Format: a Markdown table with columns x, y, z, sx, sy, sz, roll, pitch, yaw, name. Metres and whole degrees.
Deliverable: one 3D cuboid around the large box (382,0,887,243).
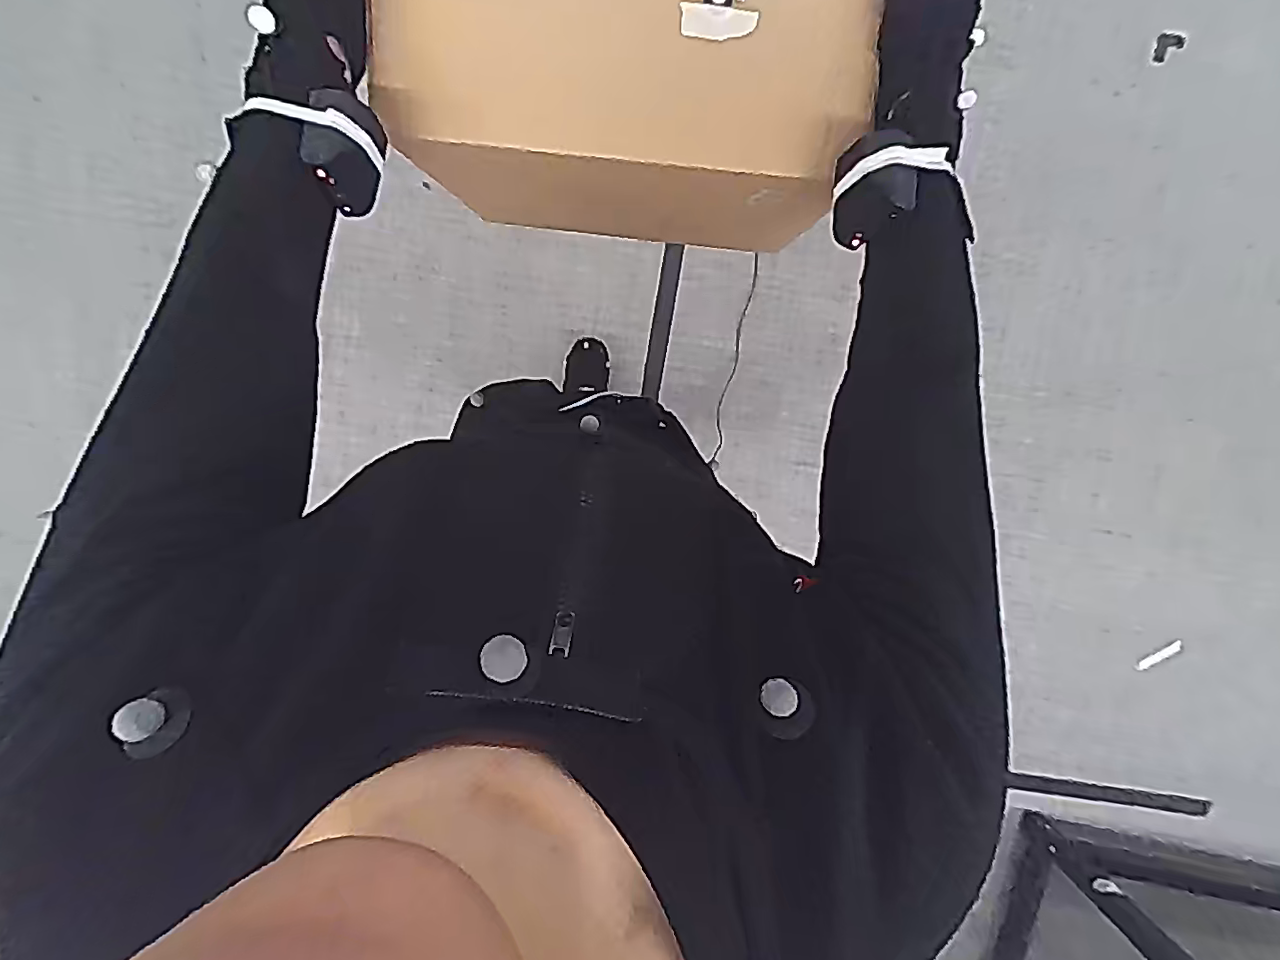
| x | y | z | sx | sy | sz | roll | pitch | yaw | name |
| --- | --- | --- | --- | --- | --- | --- | --- | --- | --- |
| -0.001 | -0.455 | 0.560 | 0.408 | 0.320 | 0.320 | 6 | 103 | -1 | large box |
